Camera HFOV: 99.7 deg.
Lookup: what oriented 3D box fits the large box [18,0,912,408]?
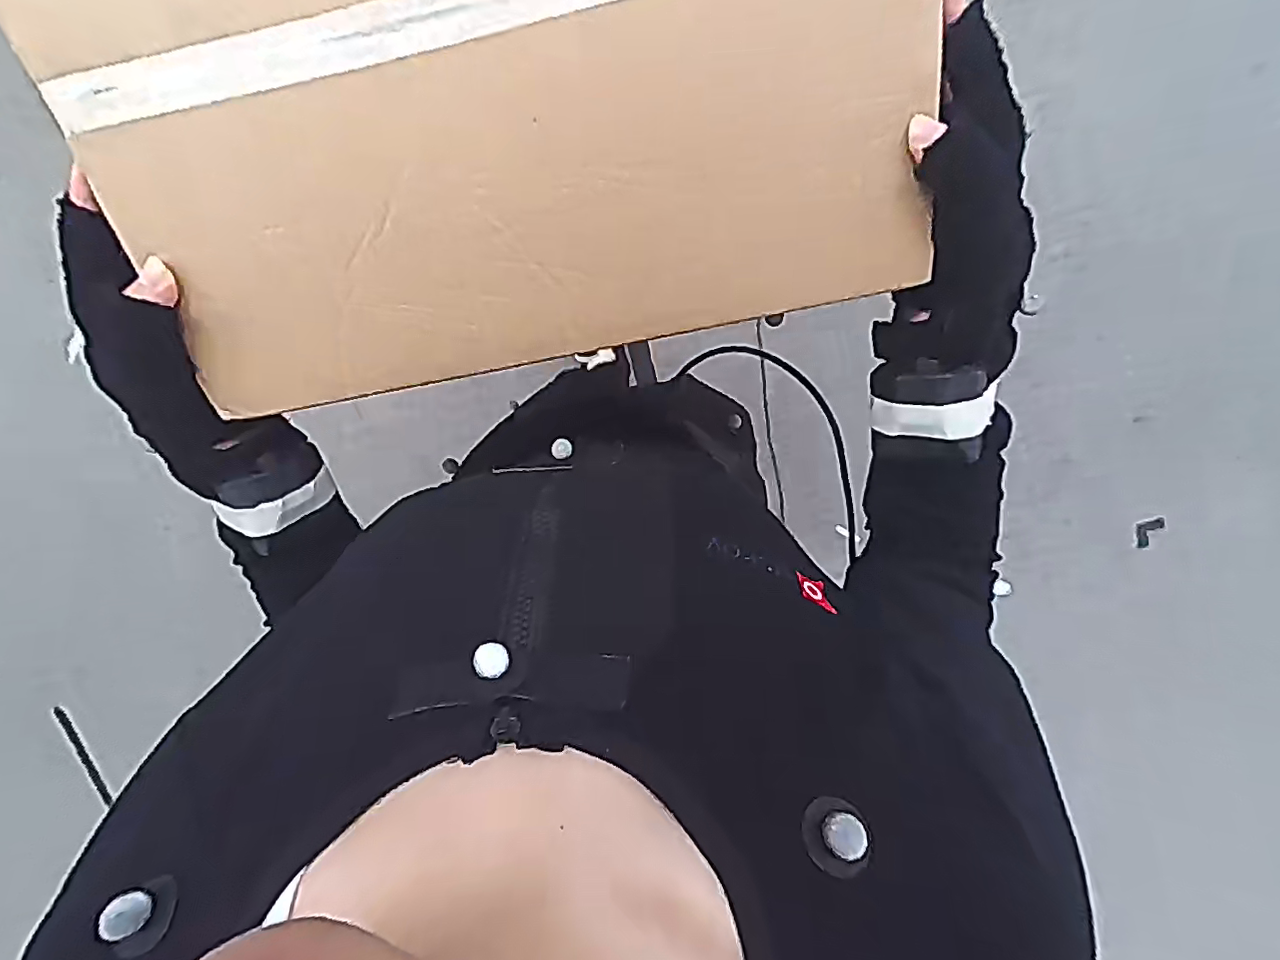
[{"bbox_3d":[-0.076,-0.279,0.381,0.408,0.320,0.320,-10,114,4],"label":"large box"}]
